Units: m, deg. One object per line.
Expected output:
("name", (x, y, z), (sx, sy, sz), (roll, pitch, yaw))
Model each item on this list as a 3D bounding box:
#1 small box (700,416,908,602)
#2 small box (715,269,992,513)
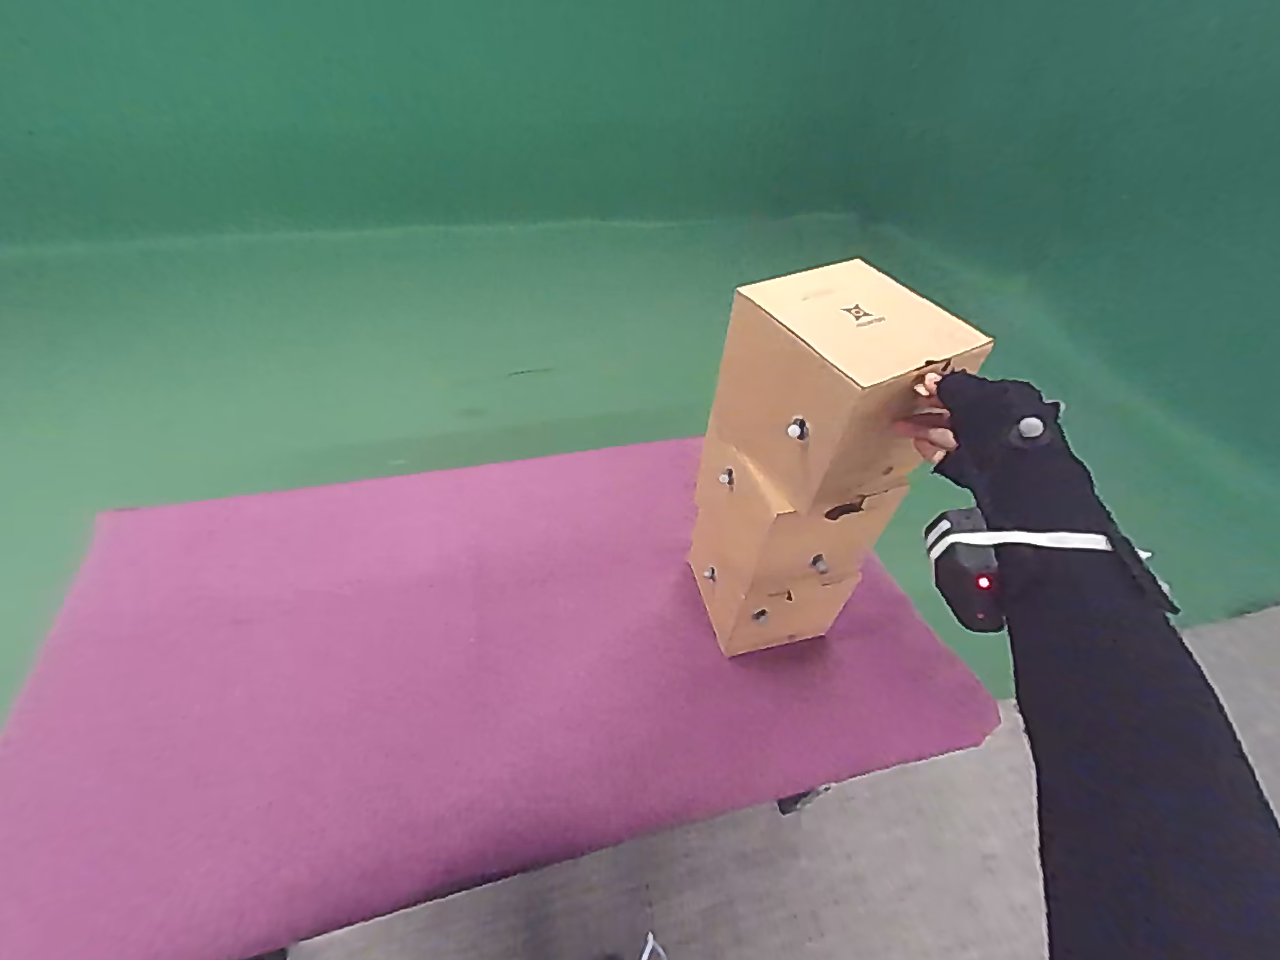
("small box", (0.185, 0.024, 0.679), (0.168, 0.176, 0.179), (-11, 50, -13))
("small box", (0.199, -0.087, 0.560), (0.168, 0.176, 0.179), (-20, 52, -21))
